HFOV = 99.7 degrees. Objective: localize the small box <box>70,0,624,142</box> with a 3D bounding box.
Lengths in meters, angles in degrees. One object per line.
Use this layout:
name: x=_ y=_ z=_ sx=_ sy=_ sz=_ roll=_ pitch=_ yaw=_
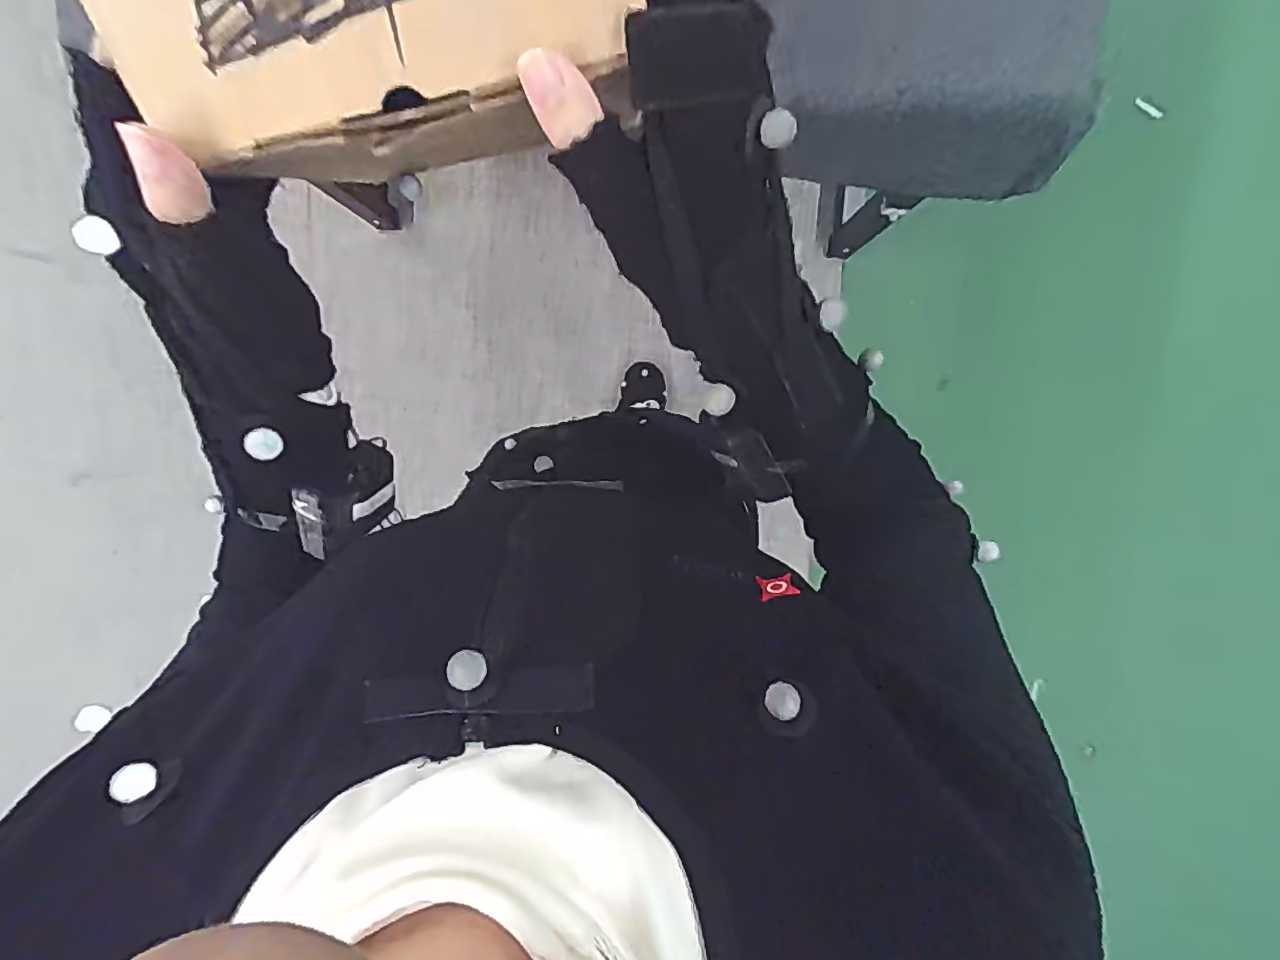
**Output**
small box: x=-0.101 y=-0.242 z=0.201 sx=0.168 sy=0.176 sz=0.179 roll=-10 pitch=117 yaw=4
